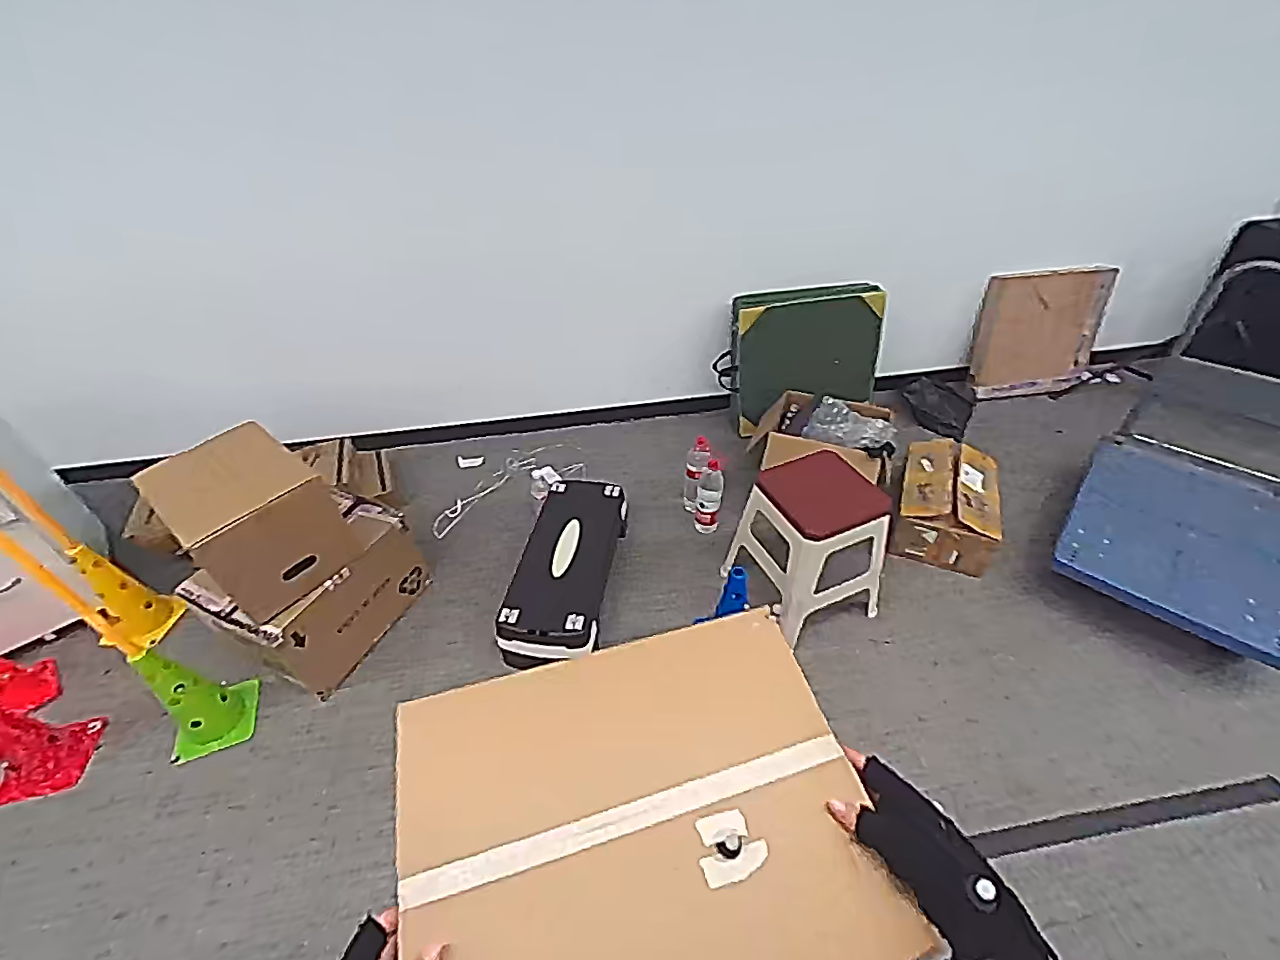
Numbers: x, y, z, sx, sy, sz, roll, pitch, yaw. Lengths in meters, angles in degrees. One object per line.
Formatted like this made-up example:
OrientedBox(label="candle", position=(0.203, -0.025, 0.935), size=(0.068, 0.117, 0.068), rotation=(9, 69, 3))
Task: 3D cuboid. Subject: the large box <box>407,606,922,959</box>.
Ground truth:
OrientedBox(label="large box", position=(-0.006, 0.395, 0.600), size=(0.408, 0.320, 0.320), rotation=(-12, 51, -14))
